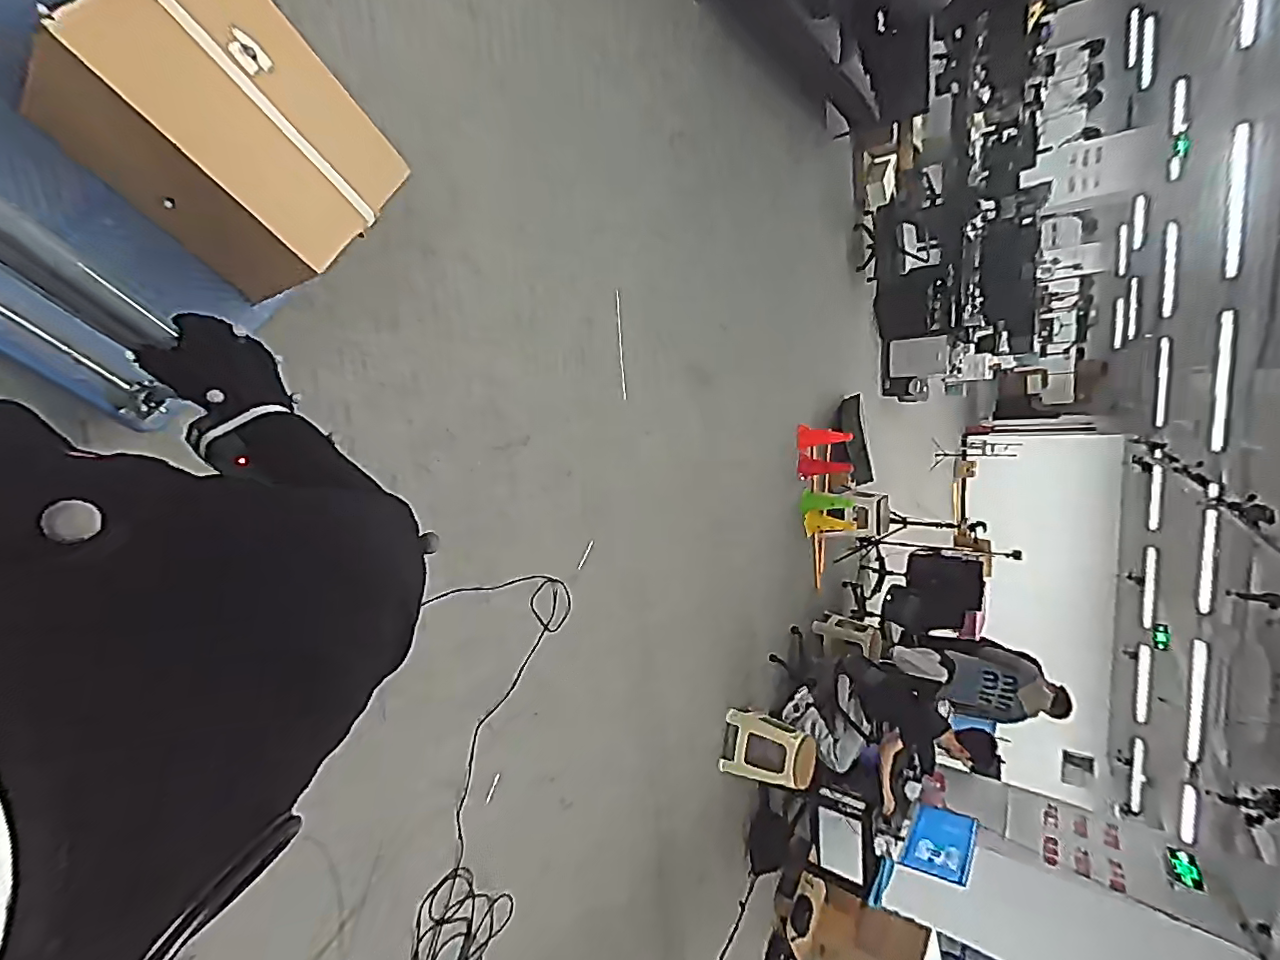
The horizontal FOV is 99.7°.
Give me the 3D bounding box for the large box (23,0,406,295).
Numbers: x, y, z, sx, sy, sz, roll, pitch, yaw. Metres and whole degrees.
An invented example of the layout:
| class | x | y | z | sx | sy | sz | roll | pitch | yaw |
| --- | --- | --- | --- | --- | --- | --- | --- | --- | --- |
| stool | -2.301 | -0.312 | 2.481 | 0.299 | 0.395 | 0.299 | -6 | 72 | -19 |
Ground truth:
| class | x | y | z | sx | sy | sz | roll | pitch | yaw |
| --- | --- | --- | --- | --- | --- | --- | --- | --- | --- |
| large box | -0.733 | -0.611 | 0.974 | 0.408 | 0.320 | 0.320 | 47 | 56 | -41 |
